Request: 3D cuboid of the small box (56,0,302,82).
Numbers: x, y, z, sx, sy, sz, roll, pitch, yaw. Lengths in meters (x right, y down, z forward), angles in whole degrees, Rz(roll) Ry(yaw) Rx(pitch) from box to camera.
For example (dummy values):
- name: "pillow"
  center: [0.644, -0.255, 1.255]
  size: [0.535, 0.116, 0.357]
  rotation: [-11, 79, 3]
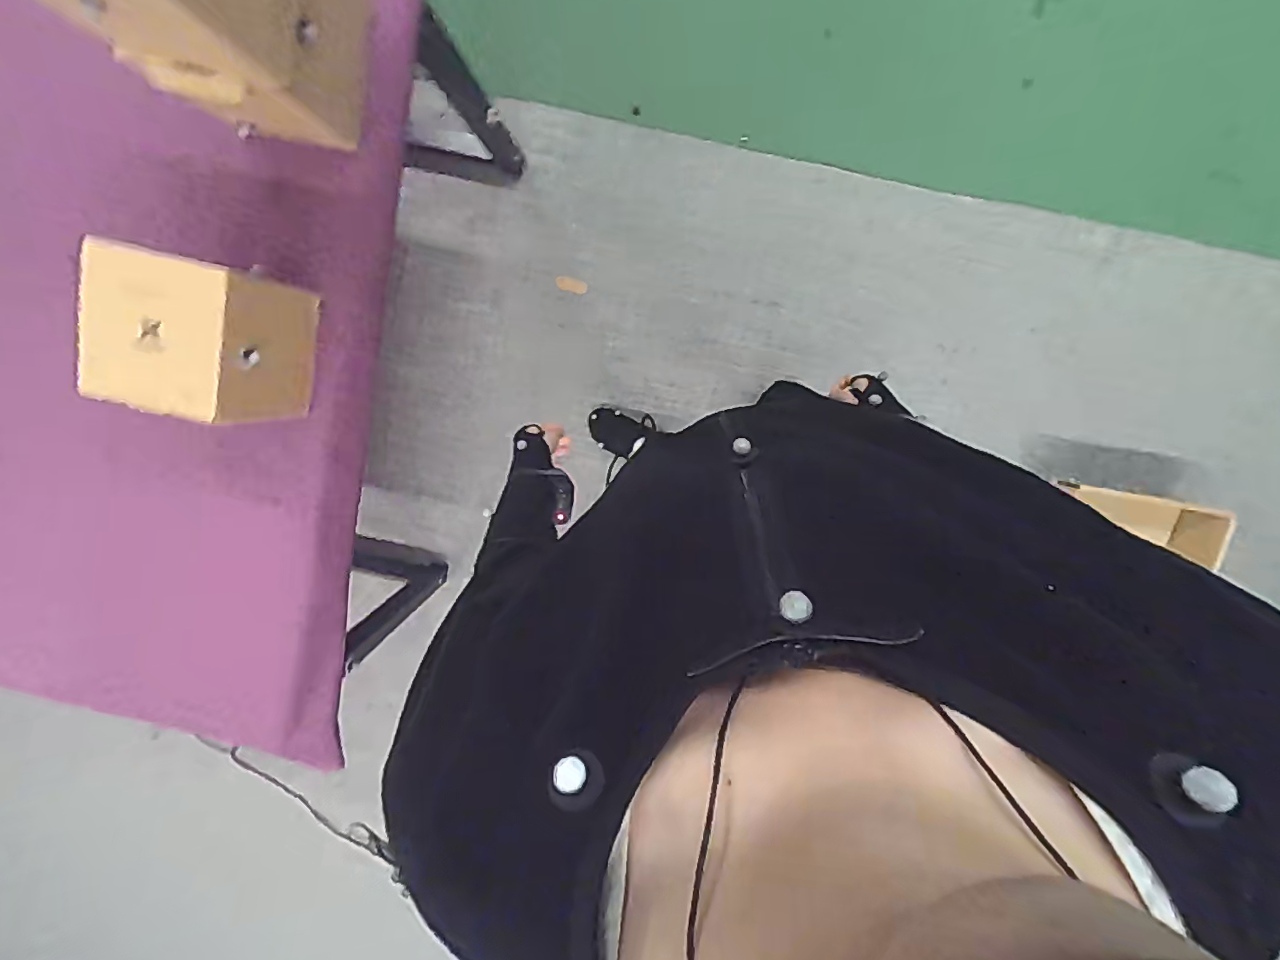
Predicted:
- name: "small box"
  center: [-0.425, -0.481, 0.460]
  size: [0.179, 0.176, 0.168]
  rotation: [14, 102, 0]

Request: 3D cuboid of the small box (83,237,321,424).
- name: "small box"
  center: [-0.540, -0.180, 0.688]
  size: [0.168, 0.176, 0.179]
  rotation: [14, 100, 1]

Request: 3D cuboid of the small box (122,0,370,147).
- name: "small box"
  center: [-0.435, -0.517, 0.620]
  size: [0.168, 0.176, 0.179]
  rotation: [11, 101, 0]
